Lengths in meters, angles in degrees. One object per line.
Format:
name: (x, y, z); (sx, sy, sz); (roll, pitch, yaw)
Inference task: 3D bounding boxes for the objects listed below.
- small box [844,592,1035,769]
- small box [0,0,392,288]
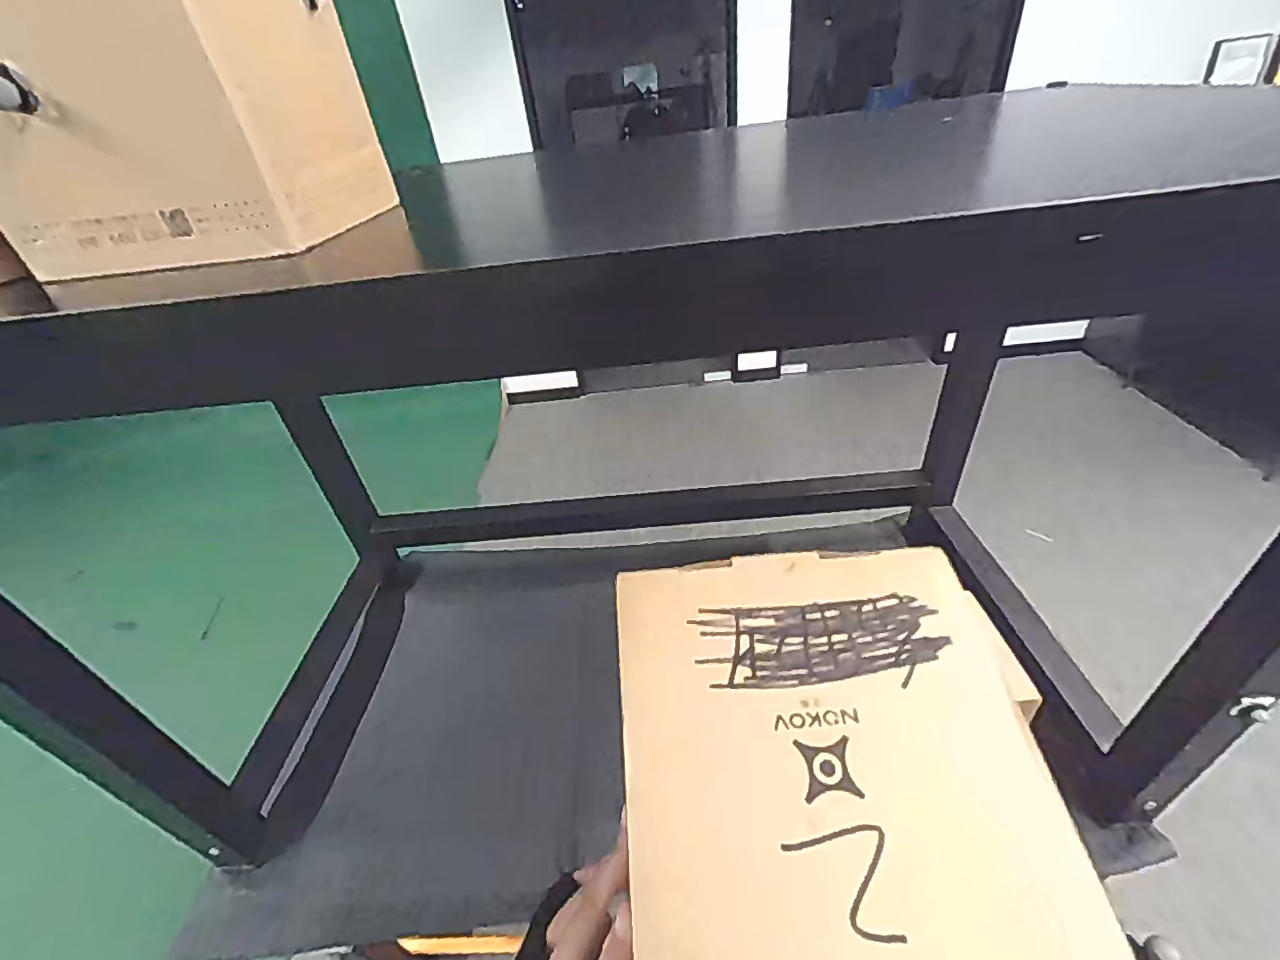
small box: (0.399, 0.284, 0.757); (0.168, 0.176, 0.179); (-5, 35, 3)
small box: (-0.292, -0.232, 0.352); (0.168, 0.176, 0.179); (-5, 35, 3)
